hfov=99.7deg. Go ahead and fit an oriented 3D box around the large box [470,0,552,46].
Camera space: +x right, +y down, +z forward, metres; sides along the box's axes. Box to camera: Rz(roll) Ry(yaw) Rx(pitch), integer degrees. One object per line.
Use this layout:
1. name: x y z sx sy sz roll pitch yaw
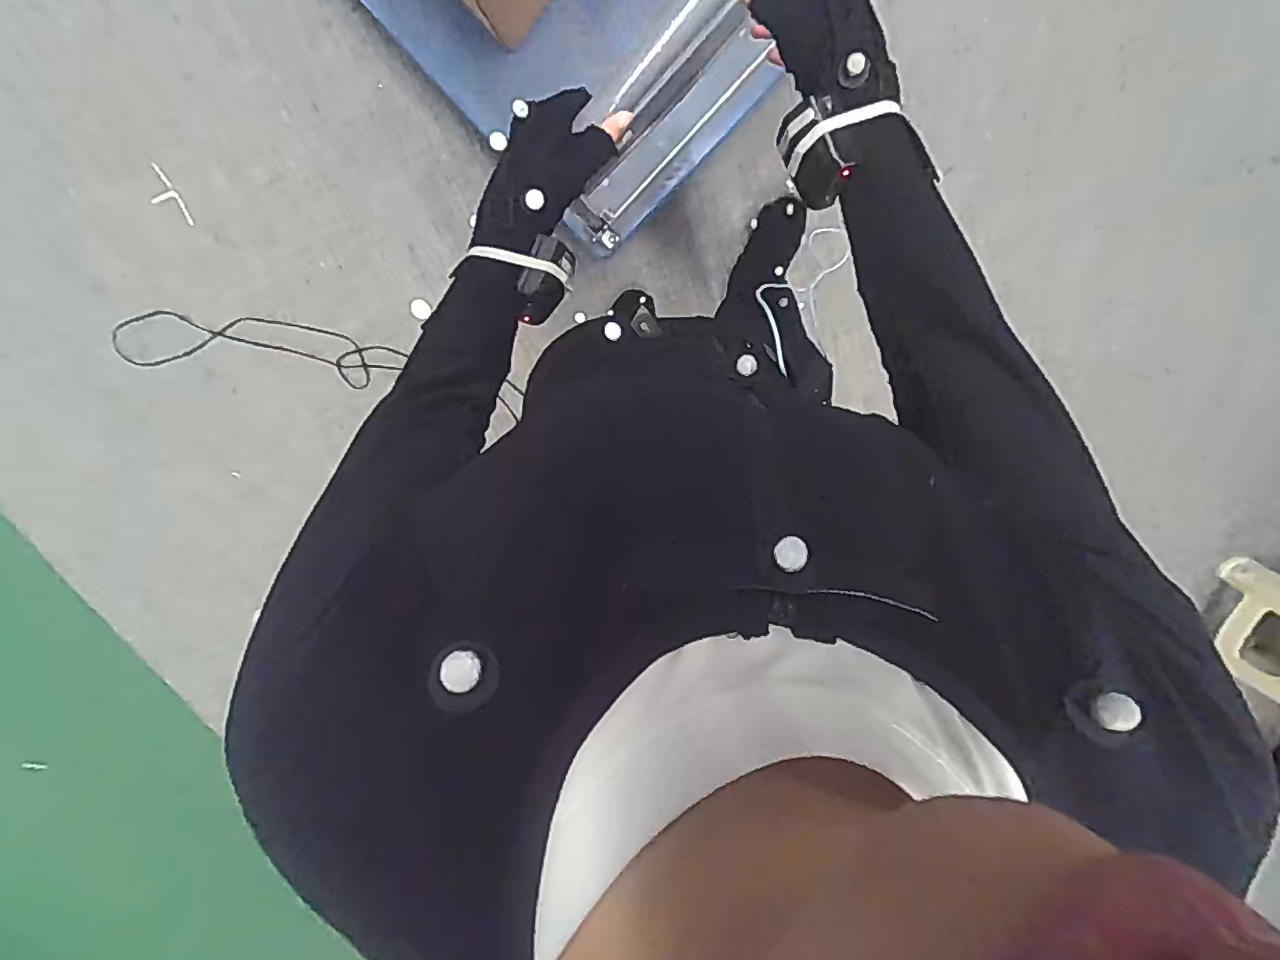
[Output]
1. large box: -0.200 -0.962 0.765 0.320 0.320 0.408 40 108 -16
